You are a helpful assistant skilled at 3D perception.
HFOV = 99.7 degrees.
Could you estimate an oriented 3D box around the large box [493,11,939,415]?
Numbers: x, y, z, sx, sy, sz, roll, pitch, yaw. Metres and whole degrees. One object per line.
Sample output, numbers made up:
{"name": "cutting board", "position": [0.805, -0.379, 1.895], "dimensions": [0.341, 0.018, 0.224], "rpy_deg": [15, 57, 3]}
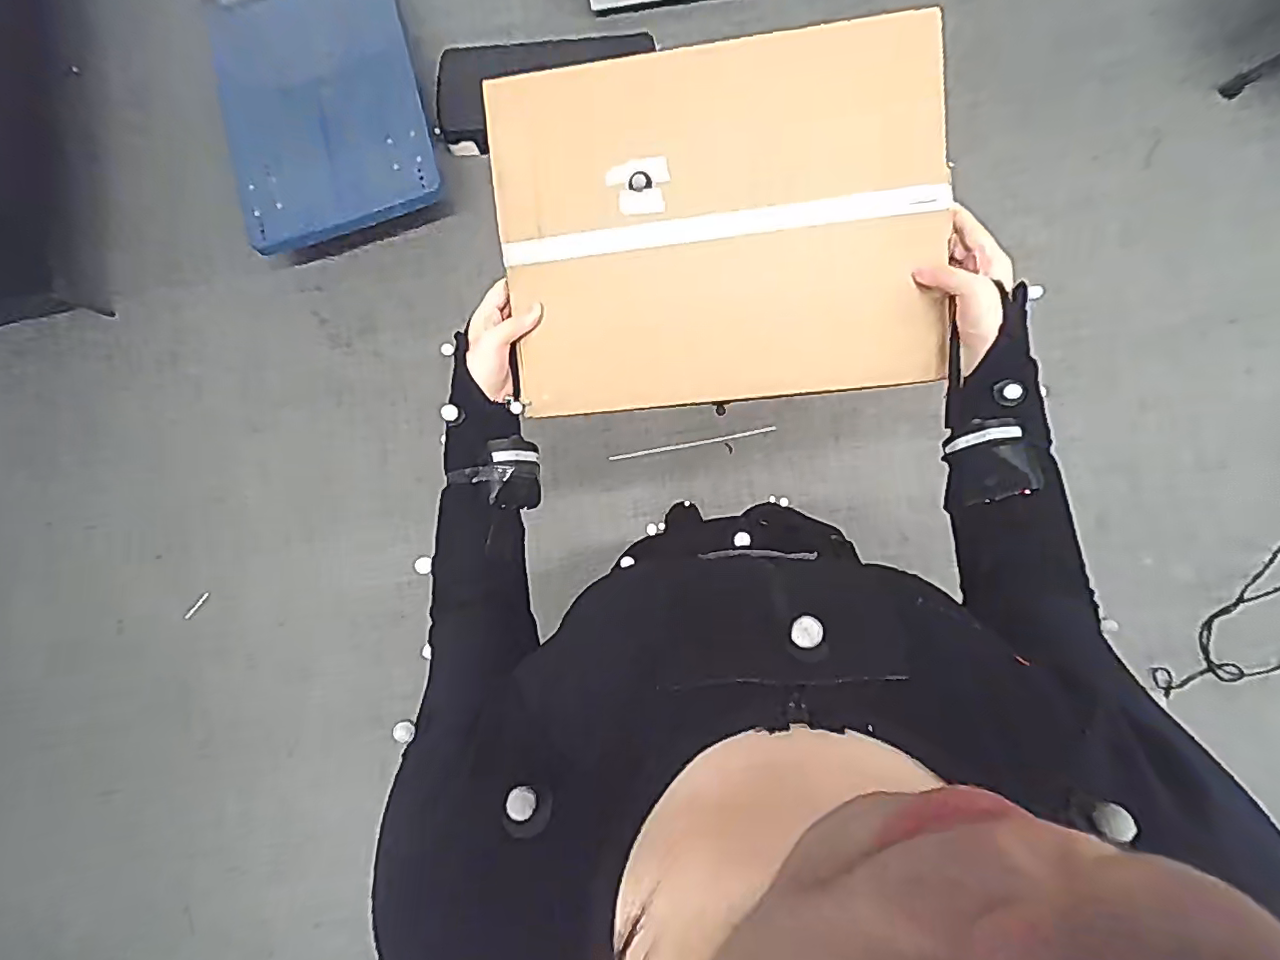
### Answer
{"name": "large box", "position": [0.089, -0.259, 0.658], "dimensions": [0.408, 0.320, 0.320], "rpy_deg": [-5, 97, 8]}
